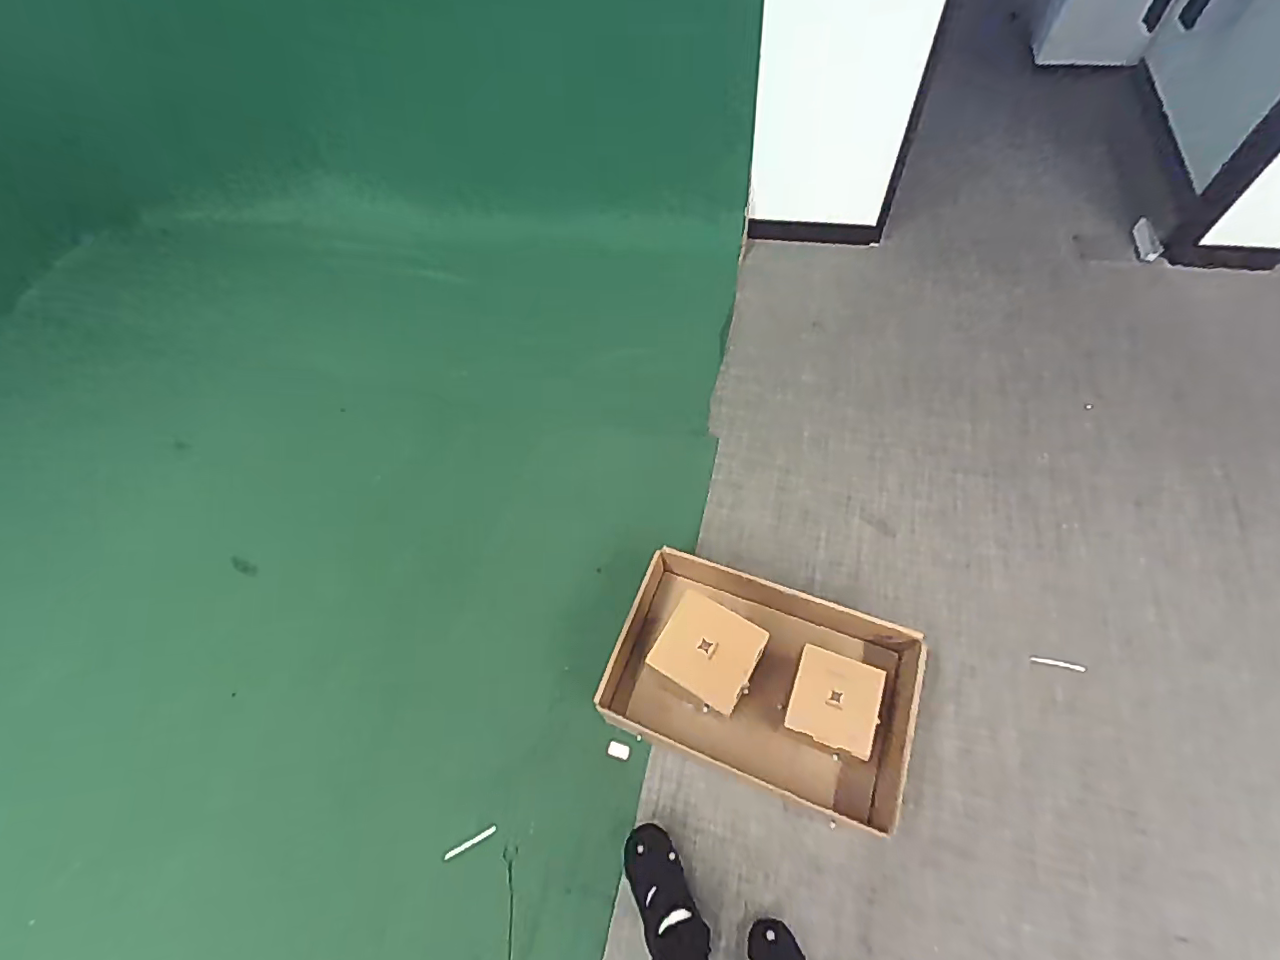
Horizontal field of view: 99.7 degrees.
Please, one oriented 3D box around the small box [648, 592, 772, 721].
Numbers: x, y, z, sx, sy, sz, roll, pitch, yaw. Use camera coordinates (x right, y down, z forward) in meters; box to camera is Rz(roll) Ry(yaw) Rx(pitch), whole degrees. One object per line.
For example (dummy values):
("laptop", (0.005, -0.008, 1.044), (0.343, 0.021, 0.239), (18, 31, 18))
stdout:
("small box", (0.135, 0.352, 1.058), (0.179, 0.176, 0.168), (27, 67, 18))
